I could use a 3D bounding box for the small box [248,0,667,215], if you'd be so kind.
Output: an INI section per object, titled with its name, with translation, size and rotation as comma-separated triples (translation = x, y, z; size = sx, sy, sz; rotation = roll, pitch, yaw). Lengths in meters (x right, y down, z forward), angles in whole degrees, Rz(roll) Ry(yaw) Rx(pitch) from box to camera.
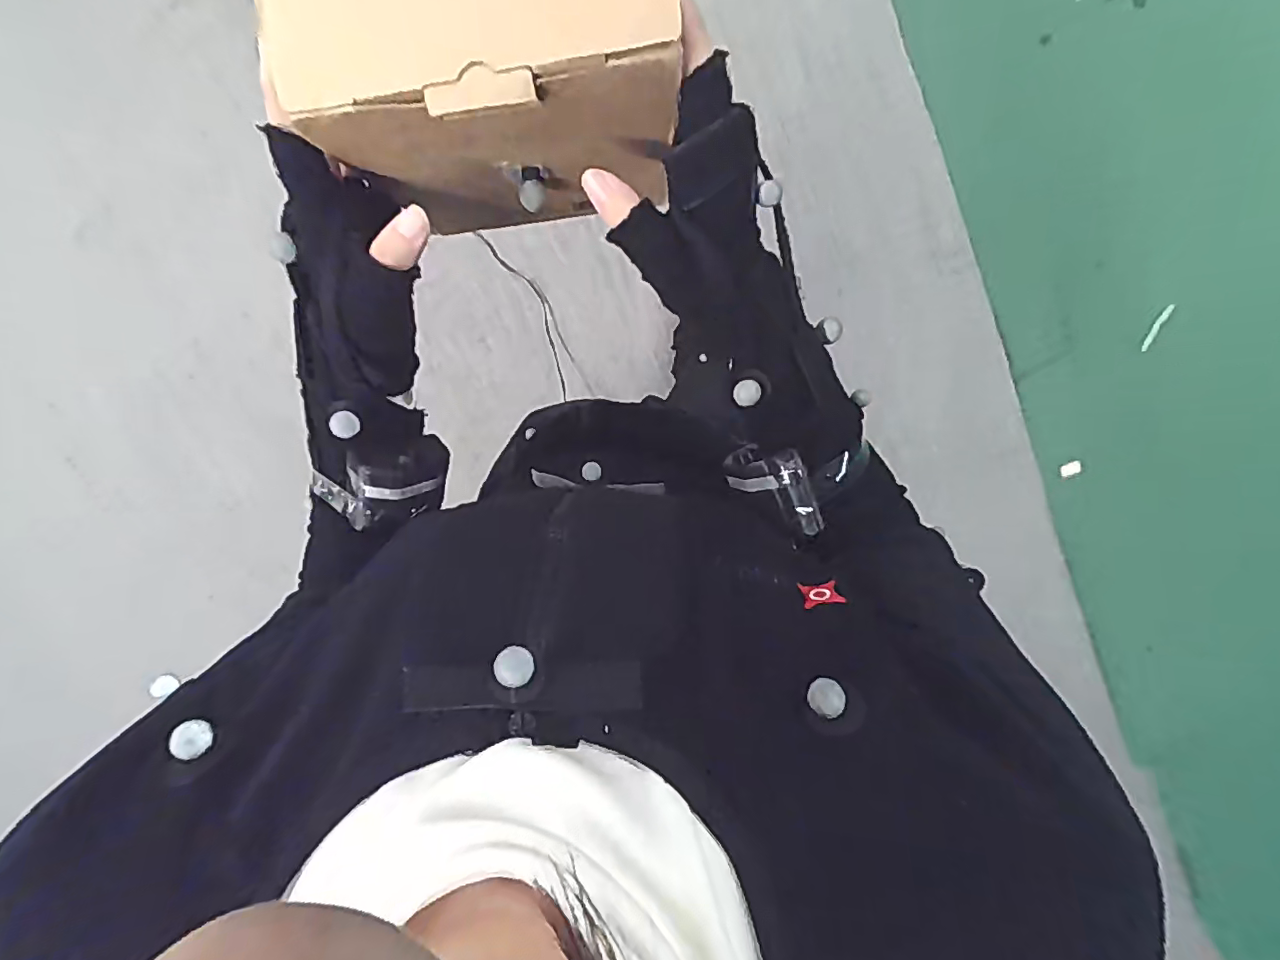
[small box]
translation = -0.075, -0.255, 0.281
size = 0.168, 0.176, 0.179
rotation = -6, 100, 3
